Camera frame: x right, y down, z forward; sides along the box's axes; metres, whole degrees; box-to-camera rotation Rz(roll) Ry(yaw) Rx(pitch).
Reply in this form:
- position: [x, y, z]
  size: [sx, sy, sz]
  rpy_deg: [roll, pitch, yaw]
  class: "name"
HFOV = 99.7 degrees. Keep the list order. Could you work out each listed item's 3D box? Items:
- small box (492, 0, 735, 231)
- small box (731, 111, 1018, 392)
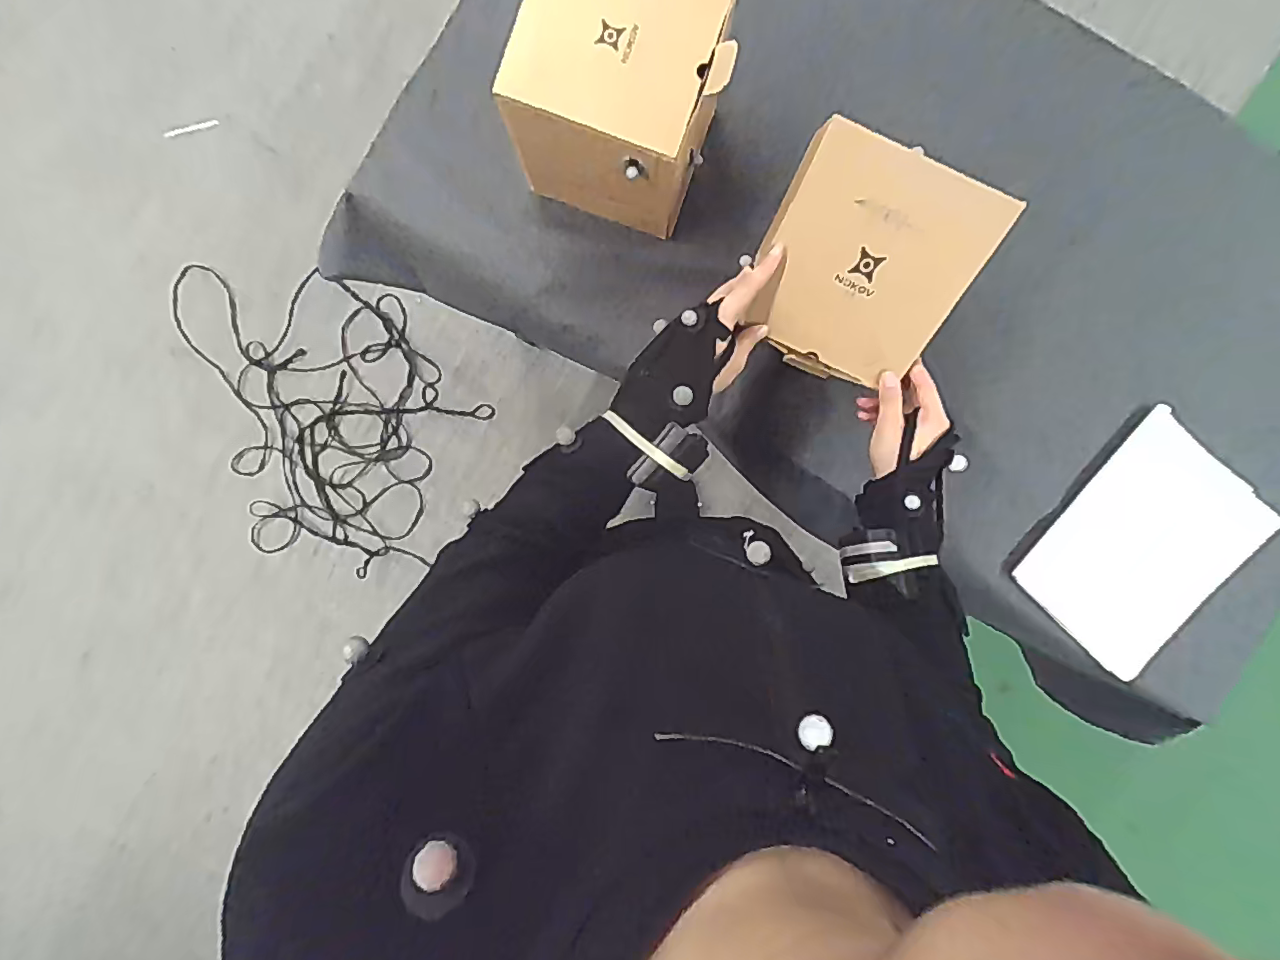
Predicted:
- position: [-0.024, -0.386, 0.552]
  size: [0.179, 0.176, 0.168]
  rpy_deg: [19, 90, -2]
  class: "small box"
- position: [0.204, -0.218, 0.523]
  size: [0.168, 0.176, 0.179]
  rpy_deg: [24, 120, -1]
  class: "small box"
